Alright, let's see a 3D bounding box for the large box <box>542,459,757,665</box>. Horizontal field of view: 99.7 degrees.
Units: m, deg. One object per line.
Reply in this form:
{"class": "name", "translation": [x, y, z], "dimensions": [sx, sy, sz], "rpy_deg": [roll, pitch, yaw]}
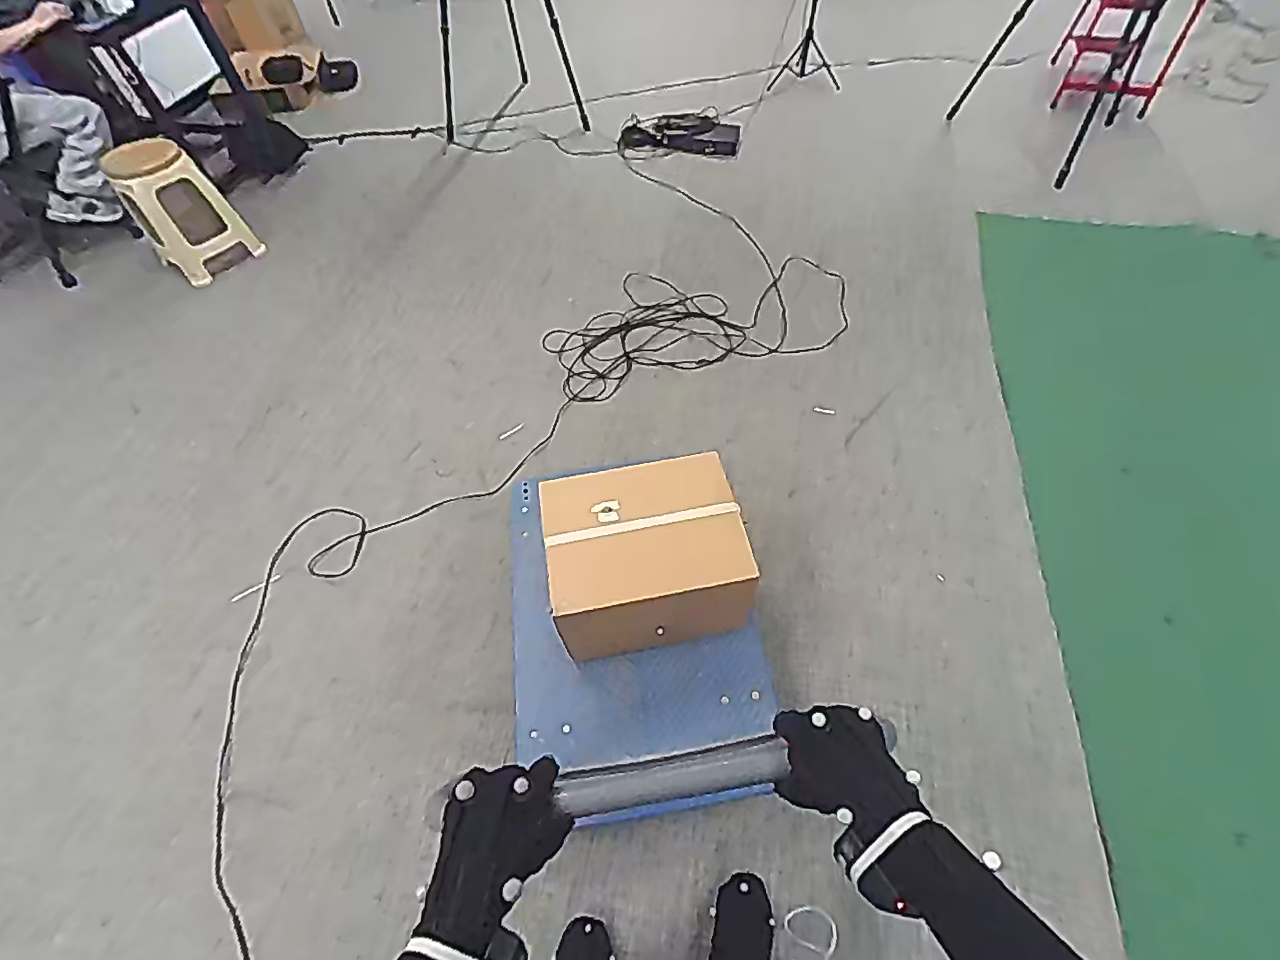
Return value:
{"class": "large box", "translation": [0.017, 0.196, 1.243], "dimensions": [0.408, 0.320, 0.320], "rpy_deg": [-11, 55, -3]}
